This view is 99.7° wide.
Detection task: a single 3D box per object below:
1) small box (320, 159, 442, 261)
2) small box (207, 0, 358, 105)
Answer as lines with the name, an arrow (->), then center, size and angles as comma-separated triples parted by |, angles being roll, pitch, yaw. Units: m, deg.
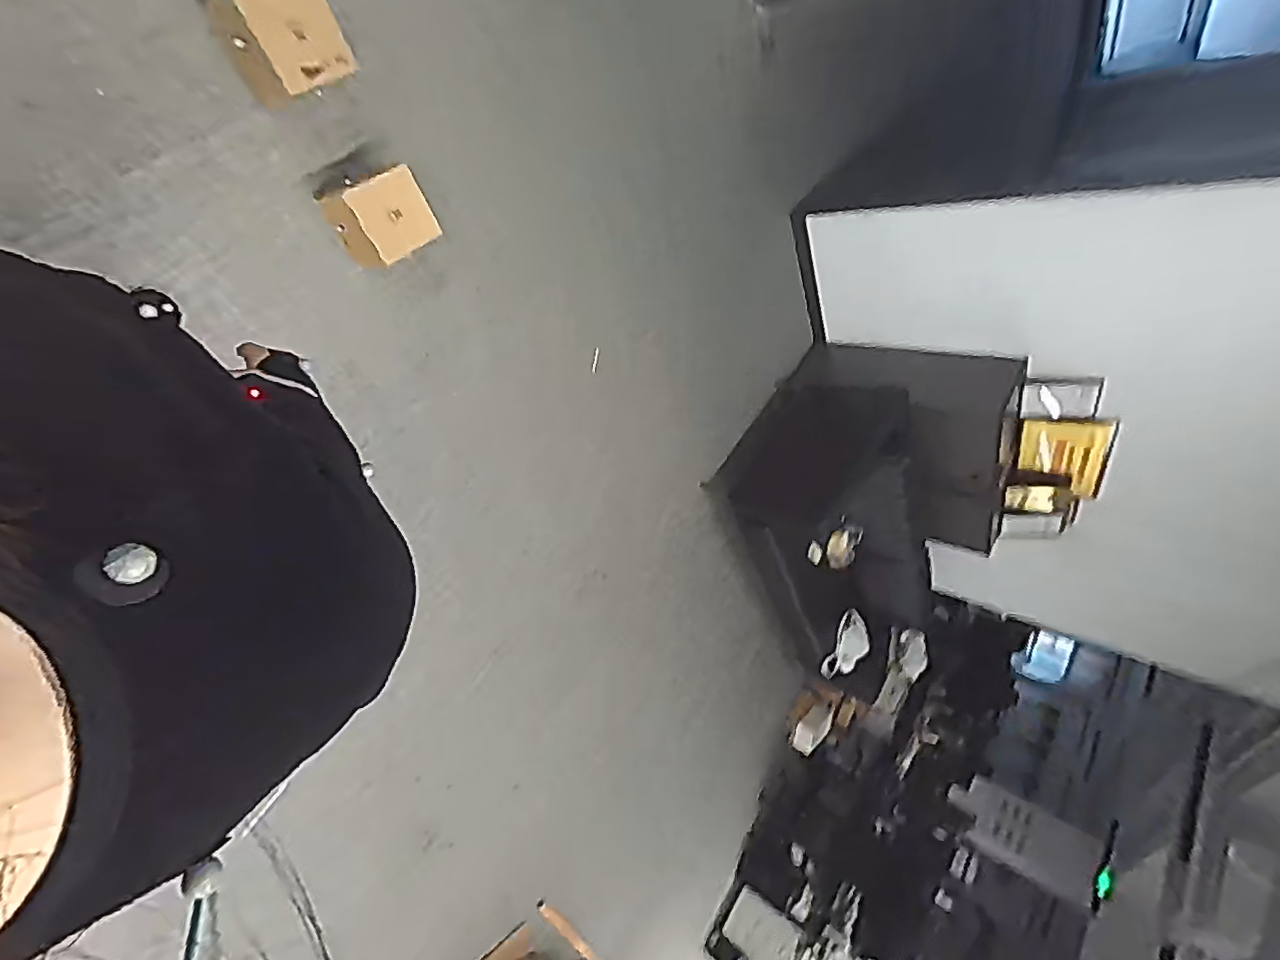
small box -> -0.625, -0.649, 1.306 | 0.179, 0.176, 0.168 | -48, 135, -26
small box -> -0.723, -0.898, 1.093 | 0.168, 0.176, 0.179 | -47, 134, -26
